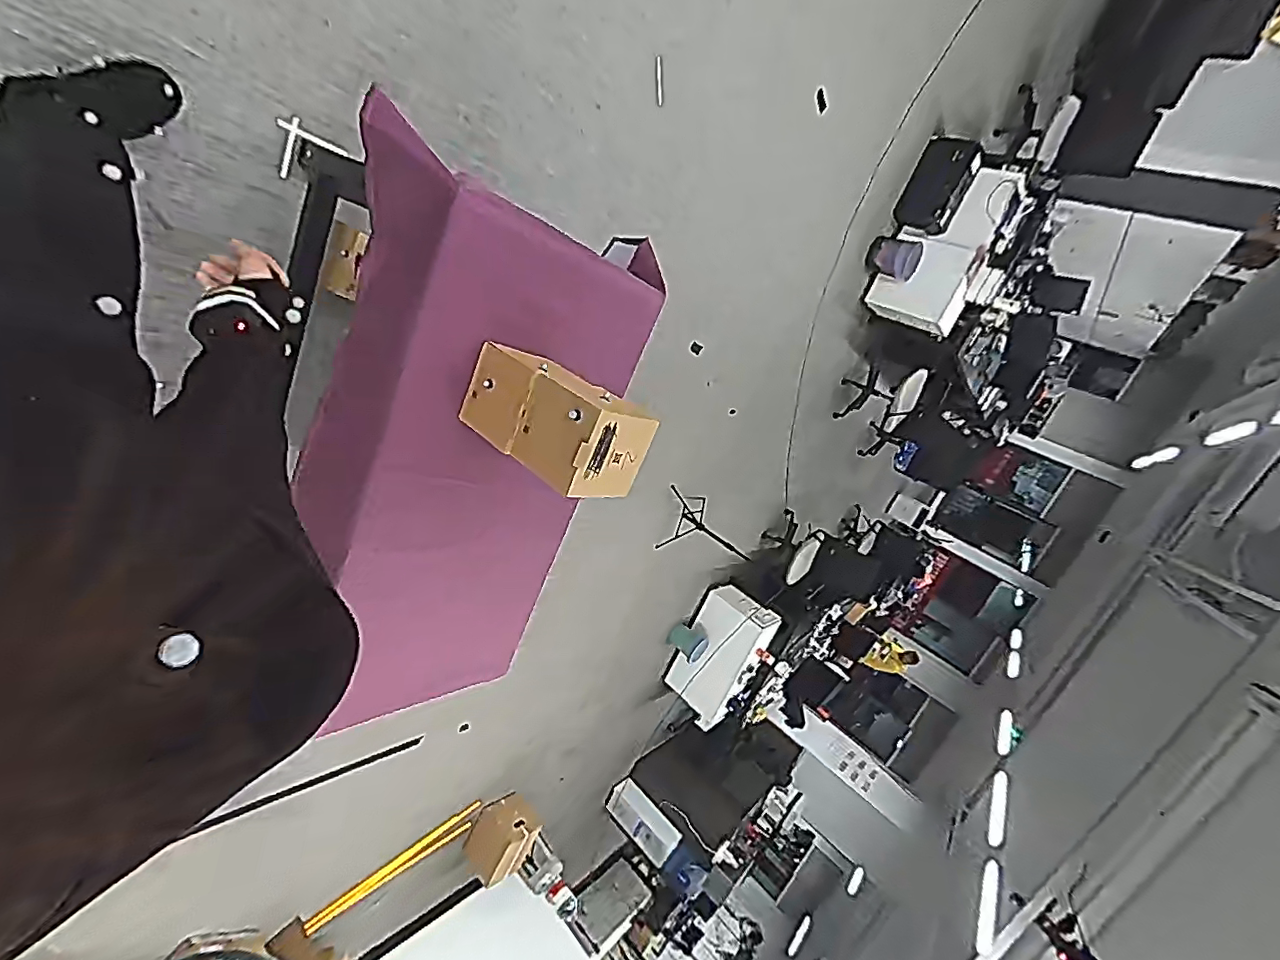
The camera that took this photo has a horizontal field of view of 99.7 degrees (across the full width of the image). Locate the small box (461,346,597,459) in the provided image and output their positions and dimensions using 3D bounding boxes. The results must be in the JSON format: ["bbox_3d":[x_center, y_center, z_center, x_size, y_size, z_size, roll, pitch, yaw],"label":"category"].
[{"bbox_3d":[-0.226,-0.156,1.097,0.179,0.176,0.168,3,116,-54],"label":"small box"}]
